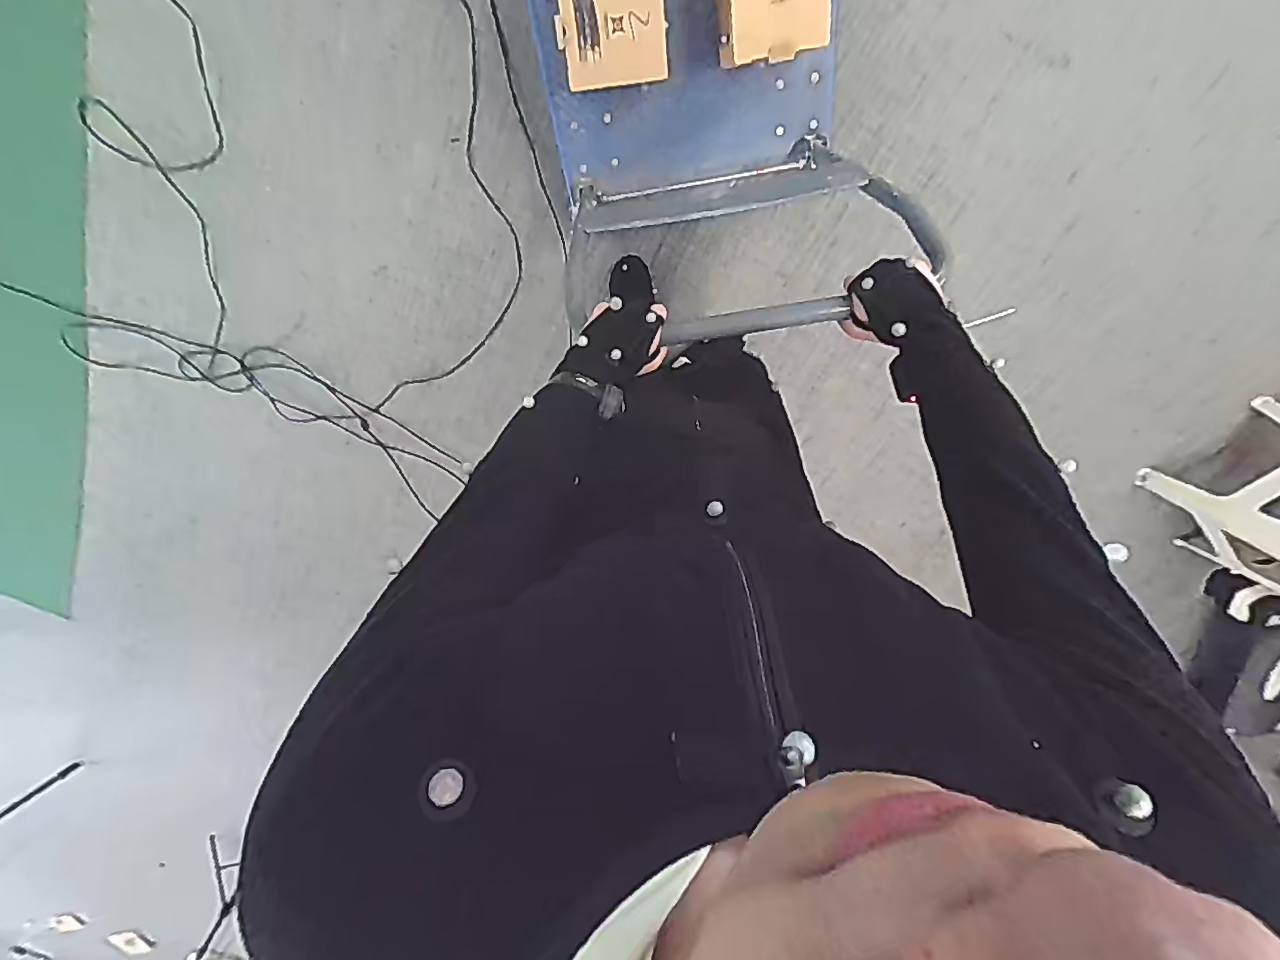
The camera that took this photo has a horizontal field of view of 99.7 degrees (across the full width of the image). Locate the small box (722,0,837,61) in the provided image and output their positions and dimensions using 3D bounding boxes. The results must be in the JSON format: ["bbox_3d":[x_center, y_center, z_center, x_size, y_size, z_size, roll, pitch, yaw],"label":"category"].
[{"bbox_3d":[0.233,-0.844,0.929,0.168,0.176,0.179,-8,128,5],"label":"small box"}]
